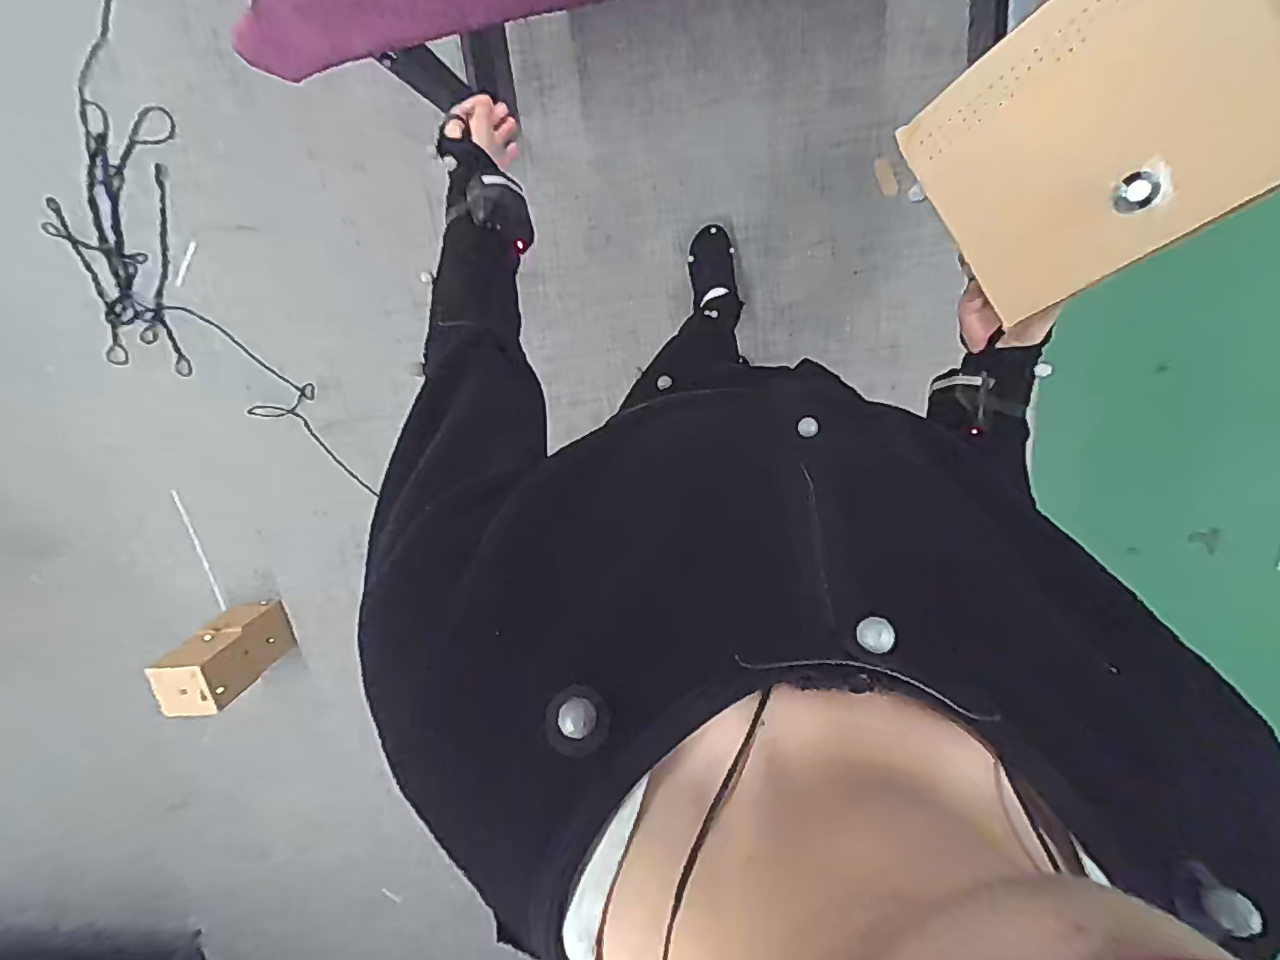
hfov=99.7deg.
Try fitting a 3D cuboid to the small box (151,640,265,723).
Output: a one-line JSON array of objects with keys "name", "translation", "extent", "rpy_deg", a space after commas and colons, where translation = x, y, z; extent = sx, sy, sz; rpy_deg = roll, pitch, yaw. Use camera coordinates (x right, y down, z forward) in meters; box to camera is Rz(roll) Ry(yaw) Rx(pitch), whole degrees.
[{"name": "small box", "translation": [-1.260, 0.588, 1.589], "extent": [0.179, 0.176, 0.168], "rpy_deg": [-4, 107, 9]}]

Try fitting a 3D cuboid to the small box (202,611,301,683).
[{"name": "small box", "translation": [-1.244, 0.535, 1.744], "extent": [0.168, 0.176, 0.179], "rpy_deg": [-6, 107, 9]}]

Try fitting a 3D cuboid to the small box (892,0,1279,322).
[{"name": "small box", "translation": [0.312, -0.241, 0.377], "extent": [0.179, 0.168, 0.176], "rpy_deg": [-31, 92, 41]}]
